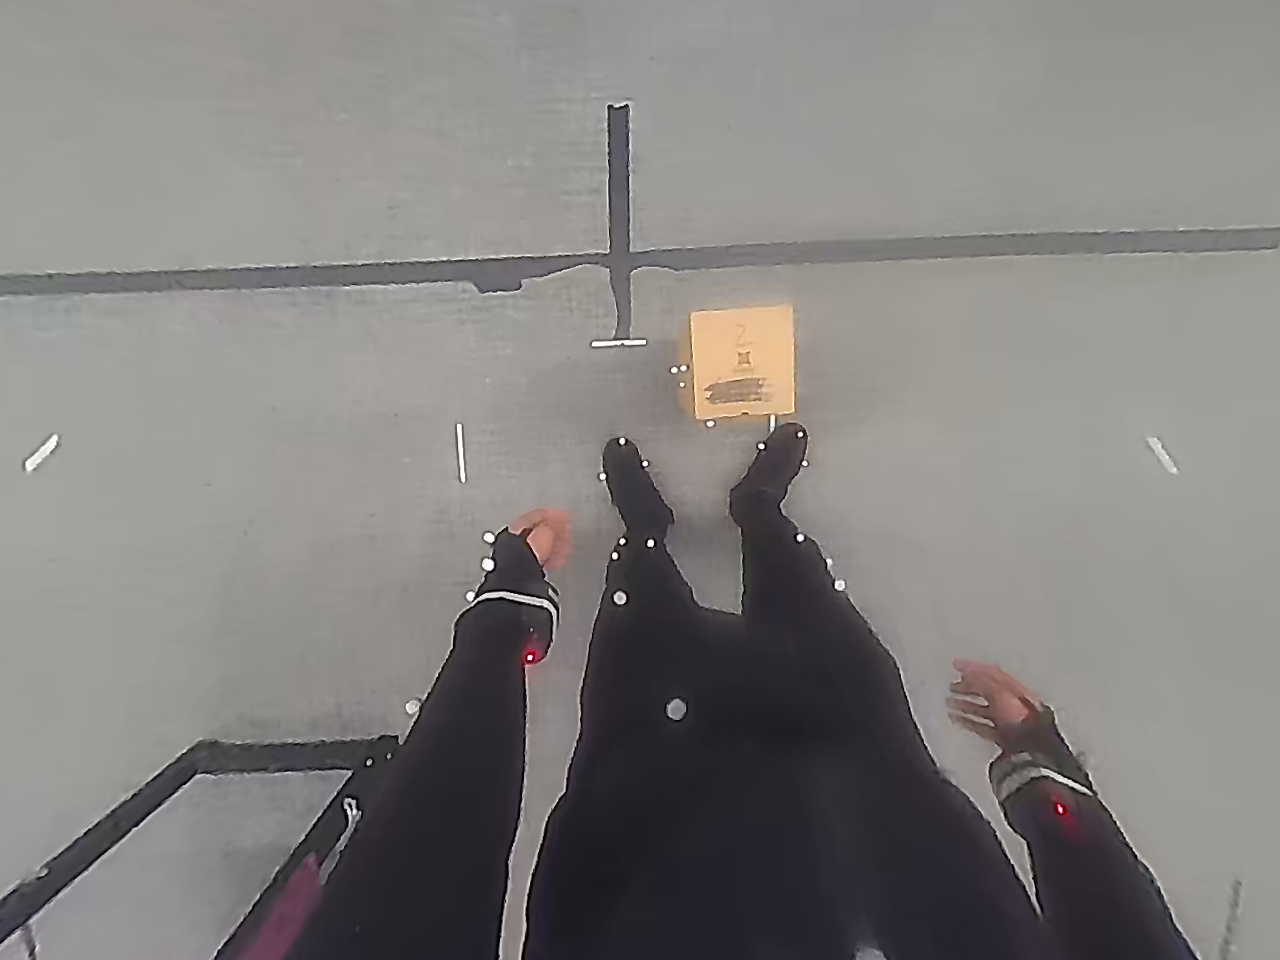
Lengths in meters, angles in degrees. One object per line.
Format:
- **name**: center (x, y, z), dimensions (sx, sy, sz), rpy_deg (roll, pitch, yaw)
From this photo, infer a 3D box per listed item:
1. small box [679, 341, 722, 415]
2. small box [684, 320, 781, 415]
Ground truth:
- **small box**: center (0.187, -0.245, 1.276), dimensions (0.179, 0.176, 0.168), rpy_deg (-3, 100, 1)
- **small box**: center (0.182, -0.228, 1.114), dimensions (0.168, 0.176, 0.179), rpy_deg (2, 101, 0)
